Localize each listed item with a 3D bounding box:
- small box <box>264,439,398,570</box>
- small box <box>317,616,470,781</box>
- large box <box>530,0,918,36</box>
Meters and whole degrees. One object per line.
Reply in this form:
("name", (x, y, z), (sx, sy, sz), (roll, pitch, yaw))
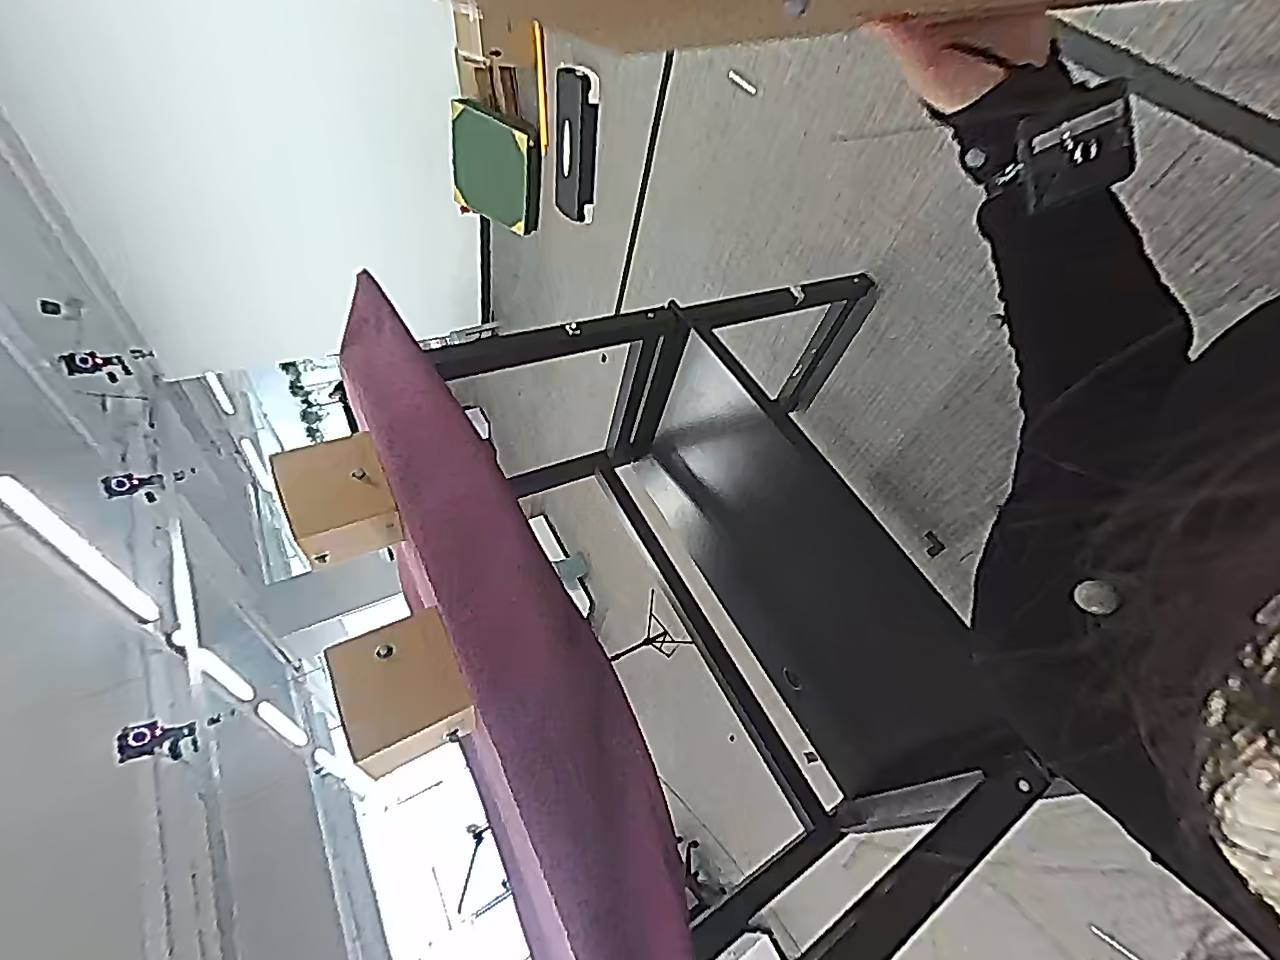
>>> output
("small box", (-0.565, 0.039, 1.007), (0.179, 0.176, 0.168), (62, 152, 17))
("small box", (-0.377, 0.334, 0.848), (0.179, 0.176, 0.168), (57, 151, 25))
("large box", (0.083, -0.399, 0.194), (0.408, 0.320, 0.320), (17, 123, 26))
